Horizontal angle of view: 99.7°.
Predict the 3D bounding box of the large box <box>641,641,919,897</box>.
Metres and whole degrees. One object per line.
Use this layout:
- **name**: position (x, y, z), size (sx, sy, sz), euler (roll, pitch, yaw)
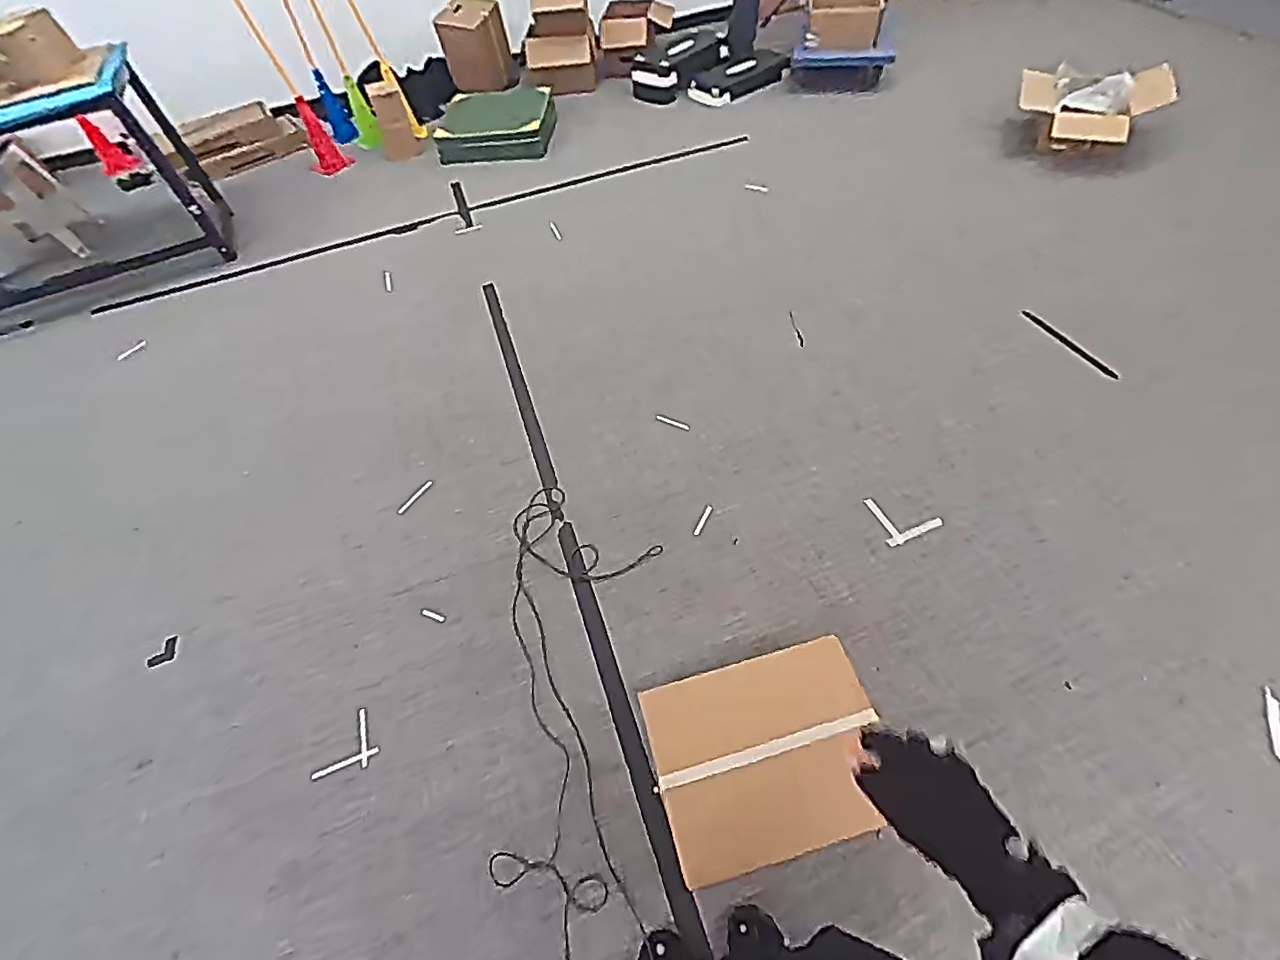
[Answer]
- **large box**: position (0.243, 0.567, 1.068), size (0.408, 0.320, 0.320), euler (-15, 53, -5)
